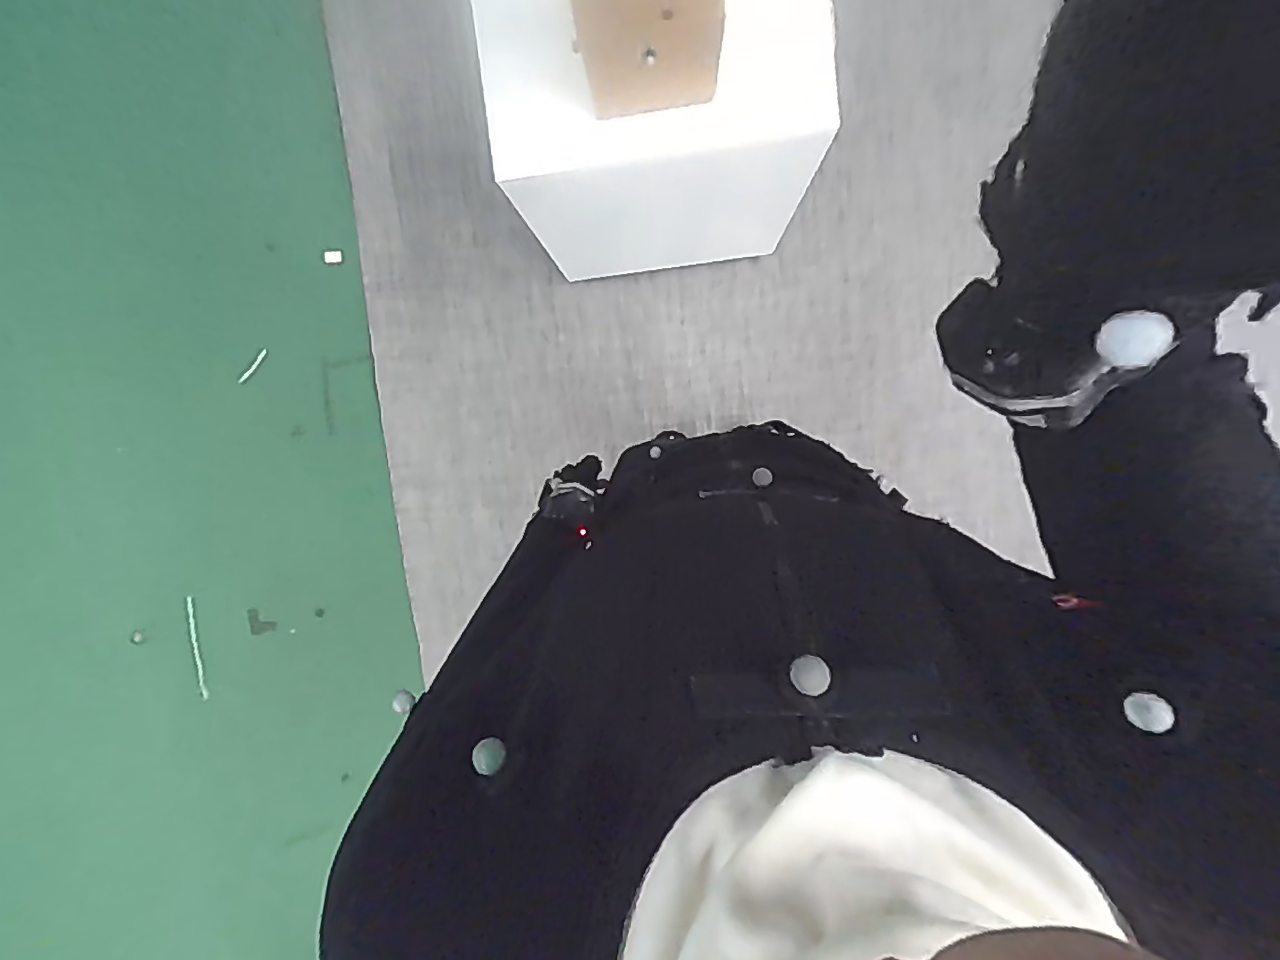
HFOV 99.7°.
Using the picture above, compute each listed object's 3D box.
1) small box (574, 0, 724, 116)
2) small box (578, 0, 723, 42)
[{"bbox_3d":[0.010,-0.612,0.706,0.179,0.176,0.168,-6,95,3],"label":"small box"},{"bbox_3d":[0.001,-0.601,0.545,0.168,0.176,0.179,-7,95,4],"label":"small box"}]
